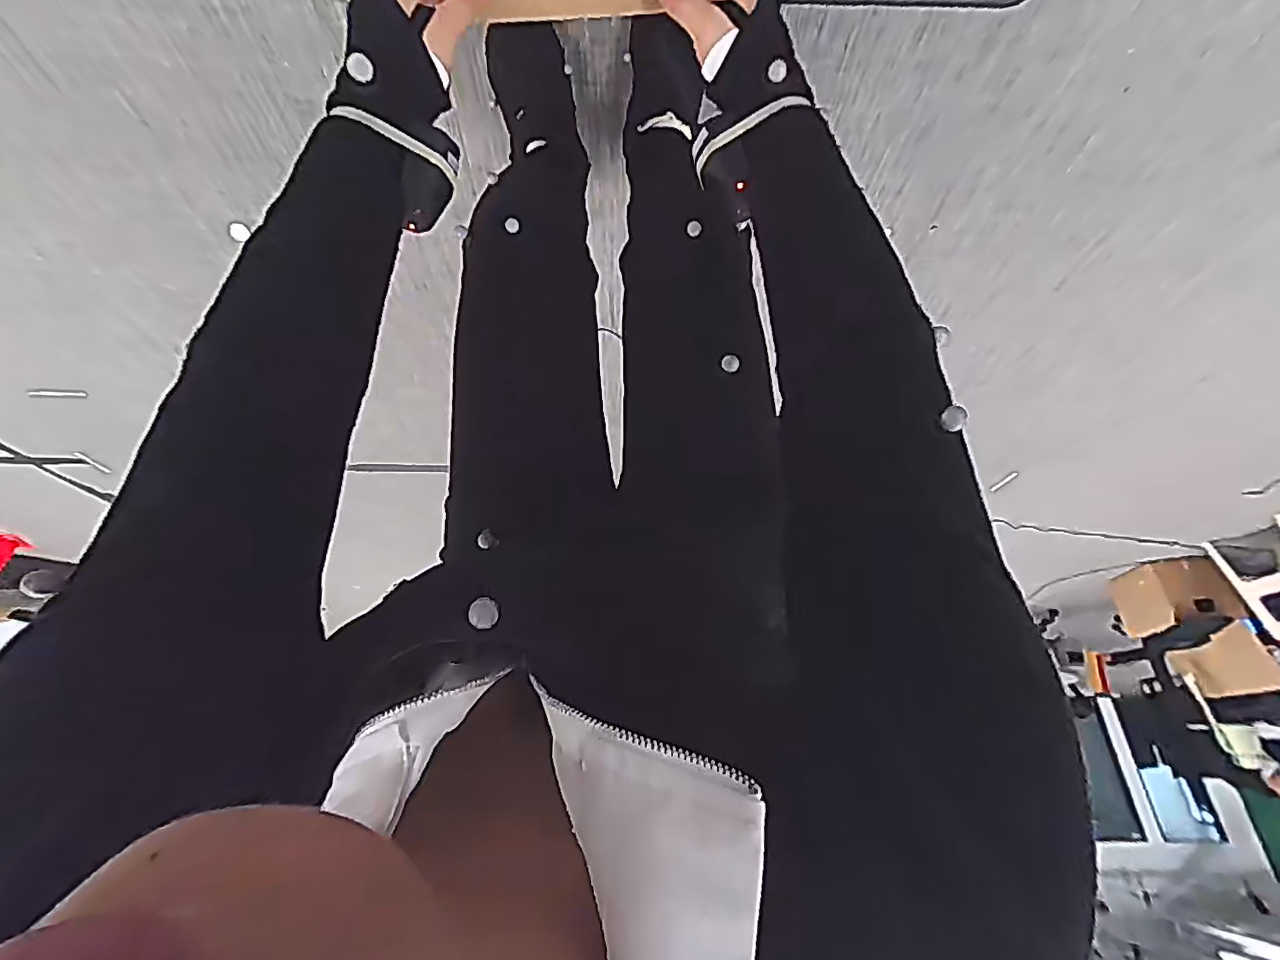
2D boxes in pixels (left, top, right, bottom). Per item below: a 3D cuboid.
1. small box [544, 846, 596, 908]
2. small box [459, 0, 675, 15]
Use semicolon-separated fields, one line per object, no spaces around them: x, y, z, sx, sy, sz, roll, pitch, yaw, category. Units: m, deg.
-0.267;1.523;2.082;0.179;0.176;0.168;0;154;0;small box
-0.058;-0.485;0.401;0.179;0.176;0.168;-1;153;1;small box
